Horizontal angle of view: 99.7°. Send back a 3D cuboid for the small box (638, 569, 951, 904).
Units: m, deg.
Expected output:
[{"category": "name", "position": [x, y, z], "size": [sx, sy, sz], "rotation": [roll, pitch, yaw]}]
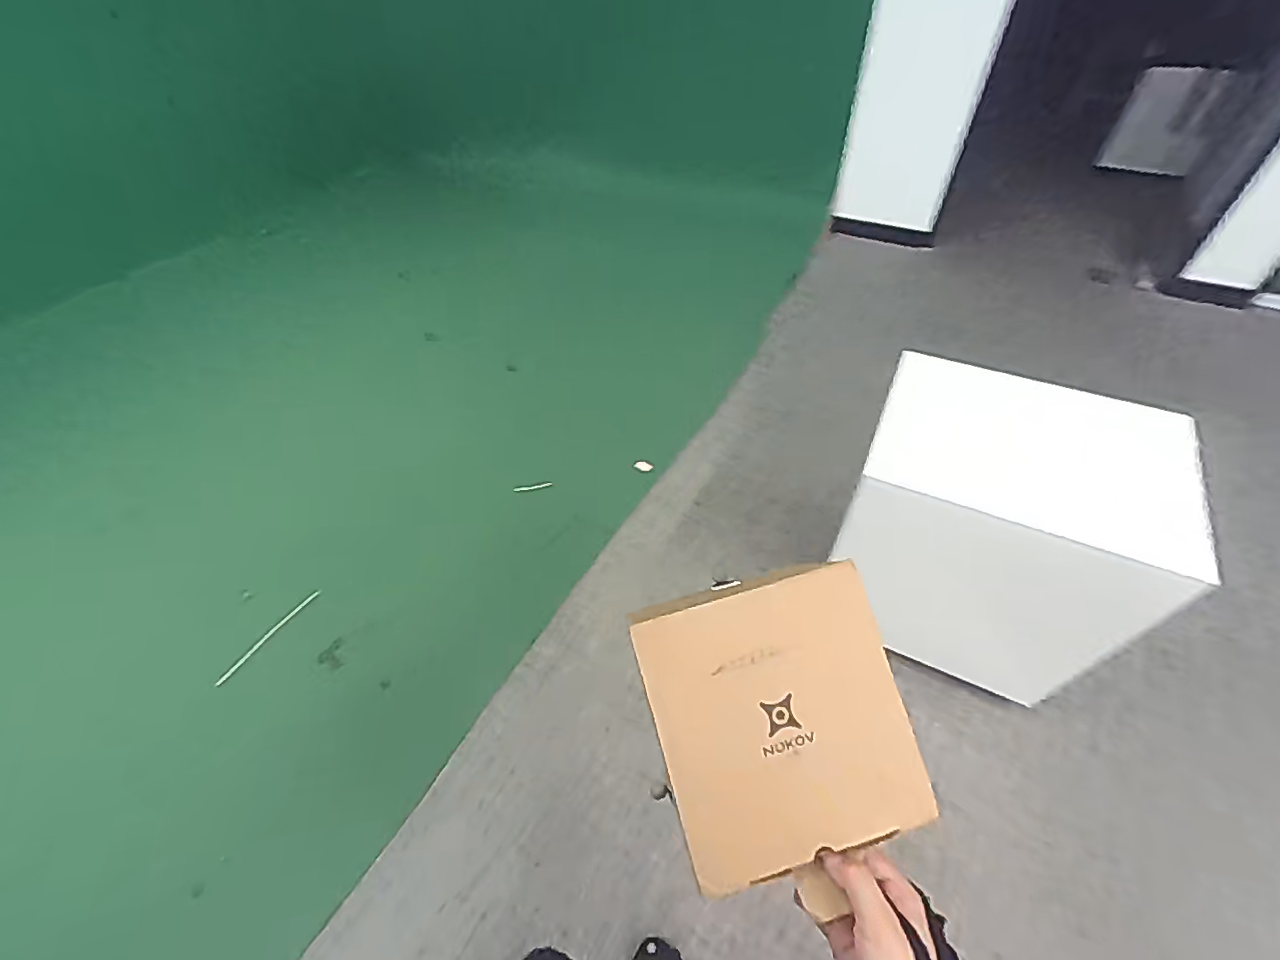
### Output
[{"category": "small box", "position": [0.099, 0.178, 0.434], "size": [0.168, 0.176, 0.179], "rotation": [-15, 78, -5]}]
